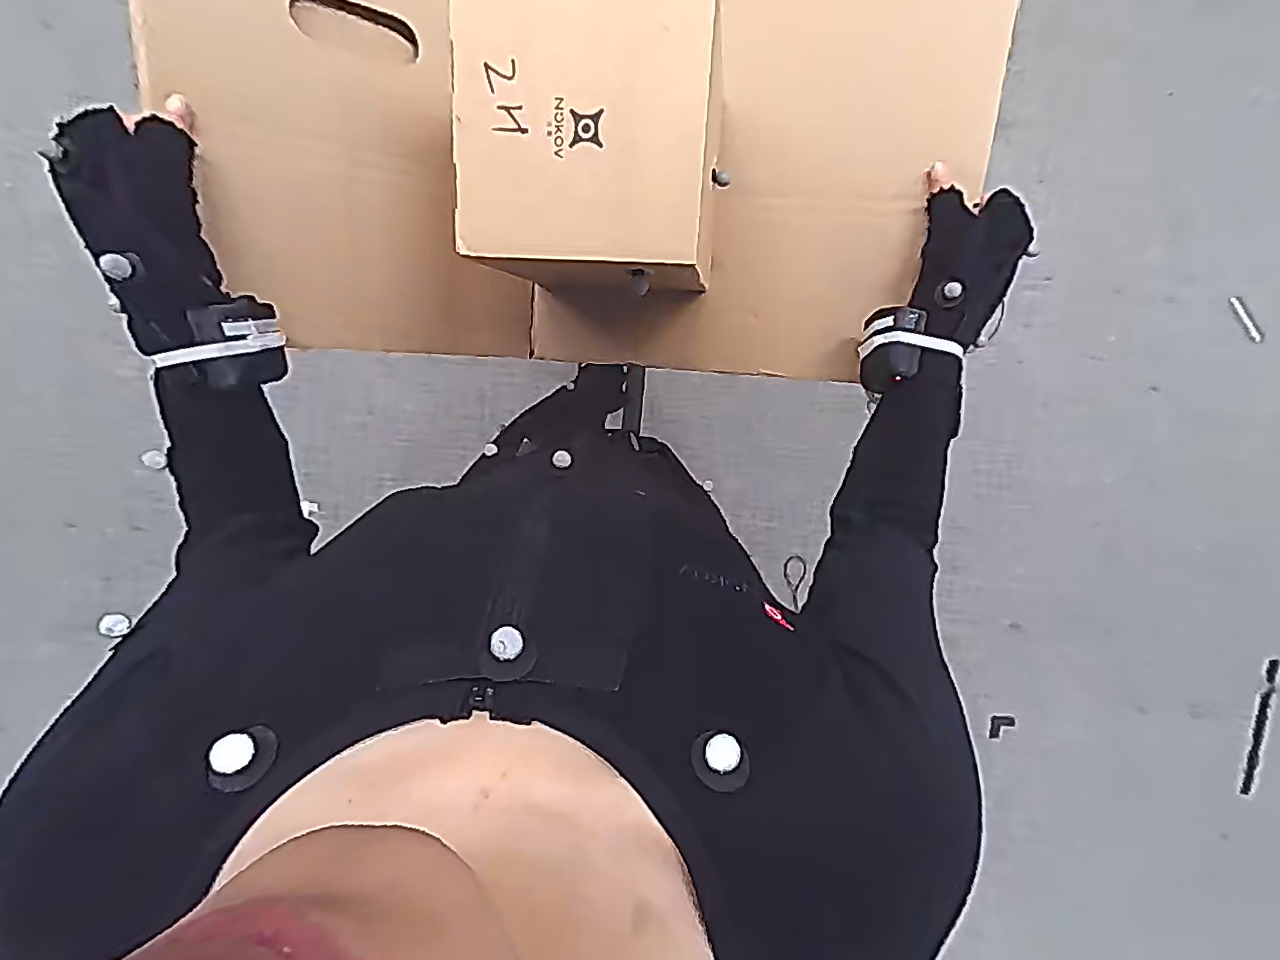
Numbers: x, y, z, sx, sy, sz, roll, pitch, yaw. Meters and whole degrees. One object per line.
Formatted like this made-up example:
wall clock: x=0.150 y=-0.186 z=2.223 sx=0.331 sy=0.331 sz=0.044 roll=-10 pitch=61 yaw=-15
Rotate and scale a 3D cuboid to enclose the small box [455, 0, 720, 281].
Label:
small box: x=-0.030 y=-0.261 z=0.442 sx=0.179 sy=0.176 sz=0.168 roll=6 pitch=104 yaw=9
